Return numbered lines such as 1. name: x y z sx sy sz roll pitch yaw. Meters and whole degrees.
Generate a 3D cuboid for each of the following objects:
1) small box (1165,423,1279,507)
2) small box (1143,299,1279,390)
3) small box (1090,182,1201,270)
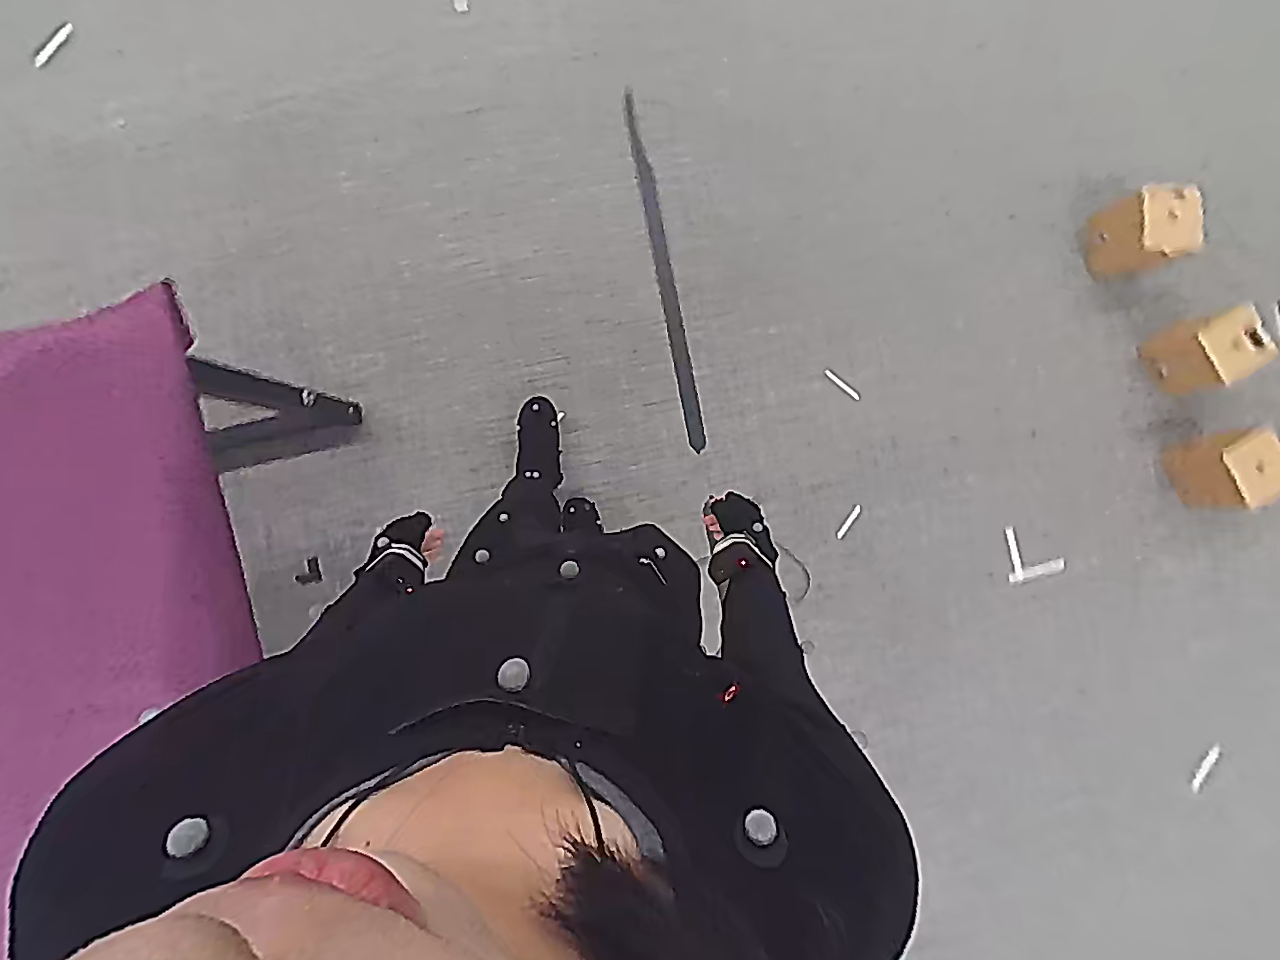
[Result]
1. small box: 1.667 -0.041 1.527 0.168 0.176 0.179 -31 90 -3
2. small box: 1.600 -0.375 1.525 0.179 0.176 0.168 -32 91 -2
3. small box: 1.415 -0.708 1.524 0.168 0.176 0.179 0 89 -3
